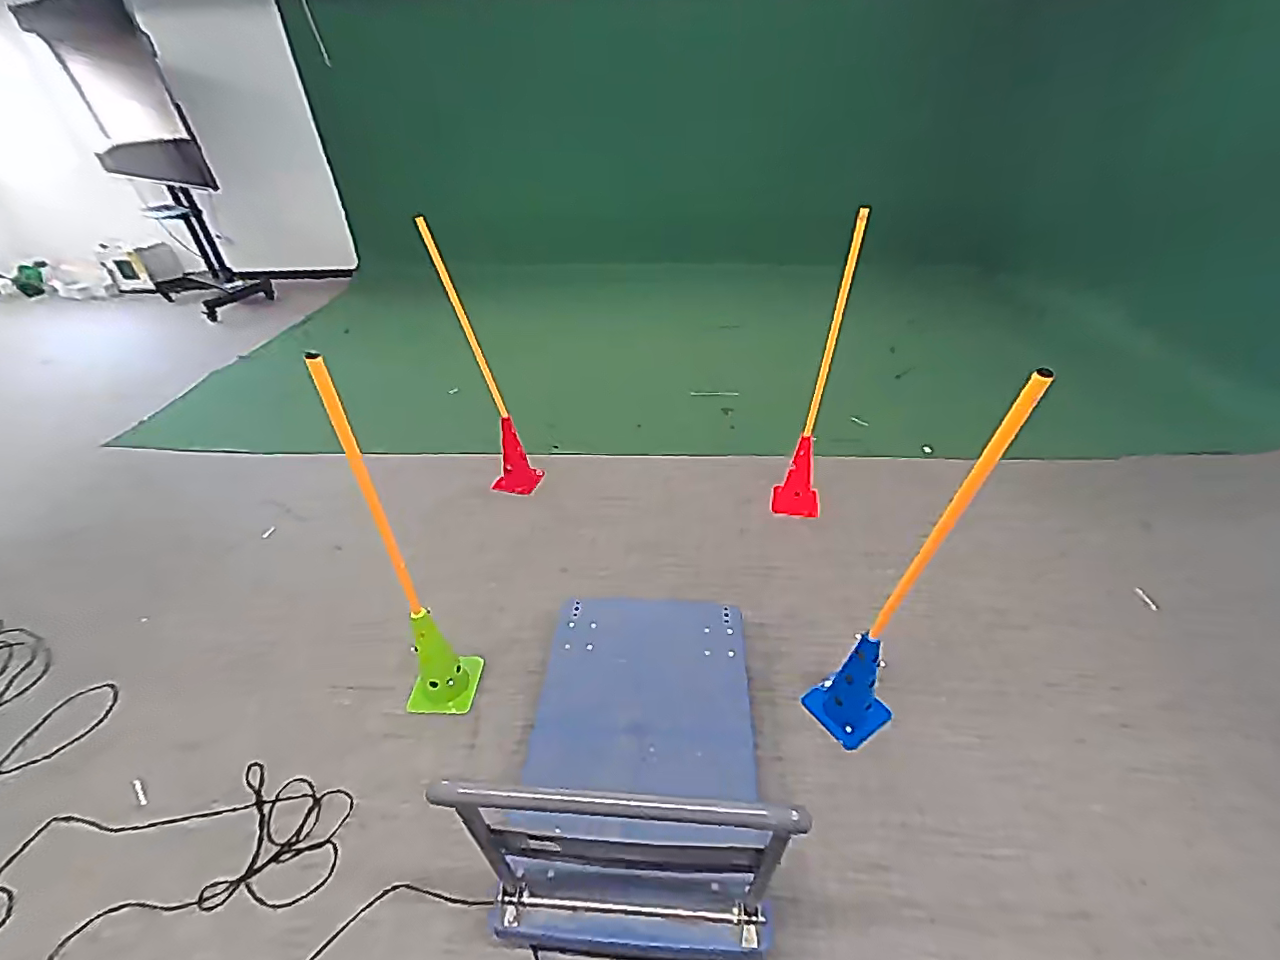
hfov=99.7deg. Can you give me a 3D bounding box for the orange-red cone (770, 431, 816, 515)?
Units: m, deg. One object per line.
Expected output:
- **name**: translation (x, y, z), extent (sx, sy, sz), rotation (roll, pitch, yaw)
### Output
- **orange-red cone**: translation (0.678, -0.049, 2.313), extent (0.198, 0.360, 0.199), rotation (7, 39, 13)
